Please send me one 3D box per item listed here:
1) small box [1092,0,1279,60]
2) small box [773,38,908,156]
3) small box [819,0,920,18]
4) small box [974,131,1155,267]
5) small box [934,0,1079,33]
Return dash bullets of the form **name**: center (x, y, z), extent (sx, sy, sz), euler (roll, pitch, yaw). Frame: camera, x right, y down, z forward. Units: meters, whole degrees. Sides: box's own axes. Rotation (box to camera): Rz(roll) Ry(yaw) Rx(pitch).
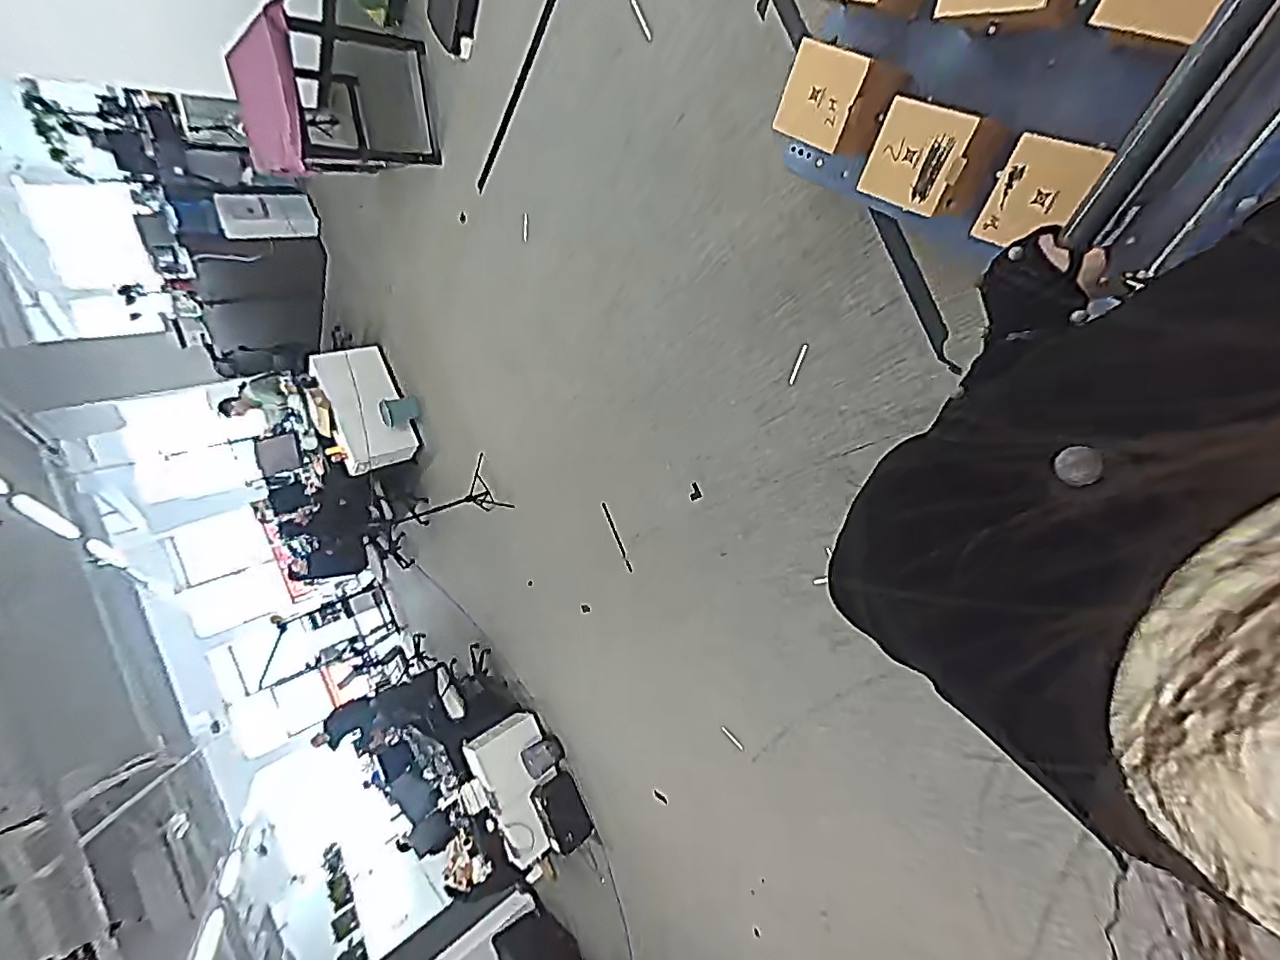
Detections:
- **small box**: center (0.799, -0.713, 0.755), extent (0.179, 0.176, 0.168), euler (44, 137, 29)
- **small box**: center (0.428, -0.813, 1.160), extent (0.179, 0.176, 0.168), euler (44, 138, 27)
- **small box**: center (0.455, -1.009, 1.030), extent (0.179, 0.176, 0.168), euler (41, 136, 31)
- **small box**: center (0.738, -0.489, 0.942), extent (0.179, 0.176, 0.168), euler (40, 134, 31)
- **small box**: center (0.631, -0.858, 0.889), extent (0.179, 0.176, 0.168), euler (33, 131, 38)
